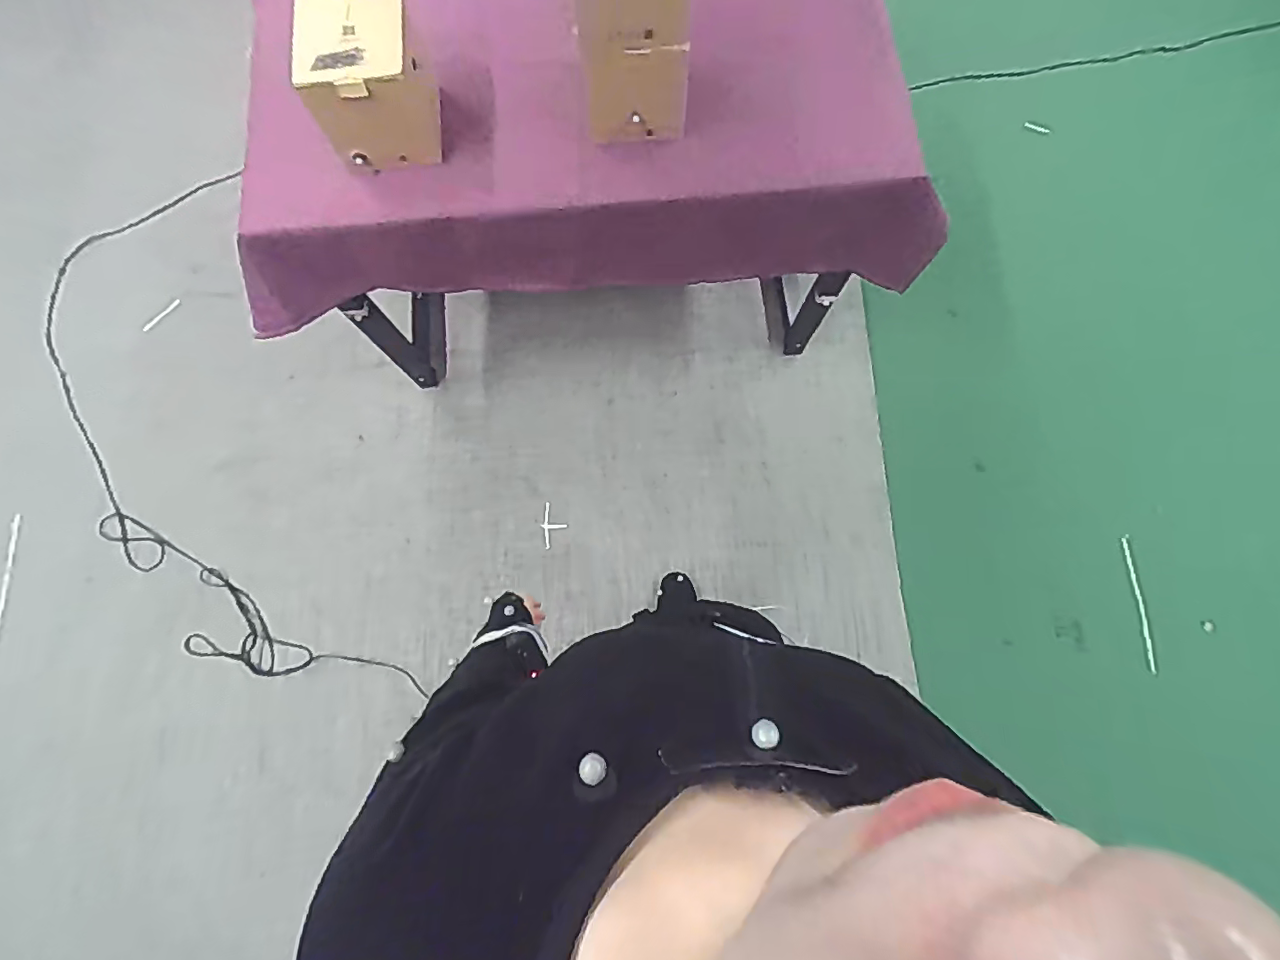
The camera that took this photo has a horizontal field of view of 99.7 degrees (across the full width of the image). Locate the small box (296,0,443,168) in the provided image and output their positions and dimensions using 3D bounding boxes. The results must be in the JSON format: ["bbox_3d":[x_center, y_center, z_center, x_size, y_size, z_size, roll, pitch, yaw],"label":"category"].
[{"bbox_3d":[-0.438,-0.649,0.901,0.168,0.176,0.179,-6,76,-1],"label":"small box"}]

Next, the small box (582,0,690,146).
[{"bbox_3d":[-0.008,-0.703,0.909,0.168,0.176,0.179,-3,77,0],"label":"small box"}]
